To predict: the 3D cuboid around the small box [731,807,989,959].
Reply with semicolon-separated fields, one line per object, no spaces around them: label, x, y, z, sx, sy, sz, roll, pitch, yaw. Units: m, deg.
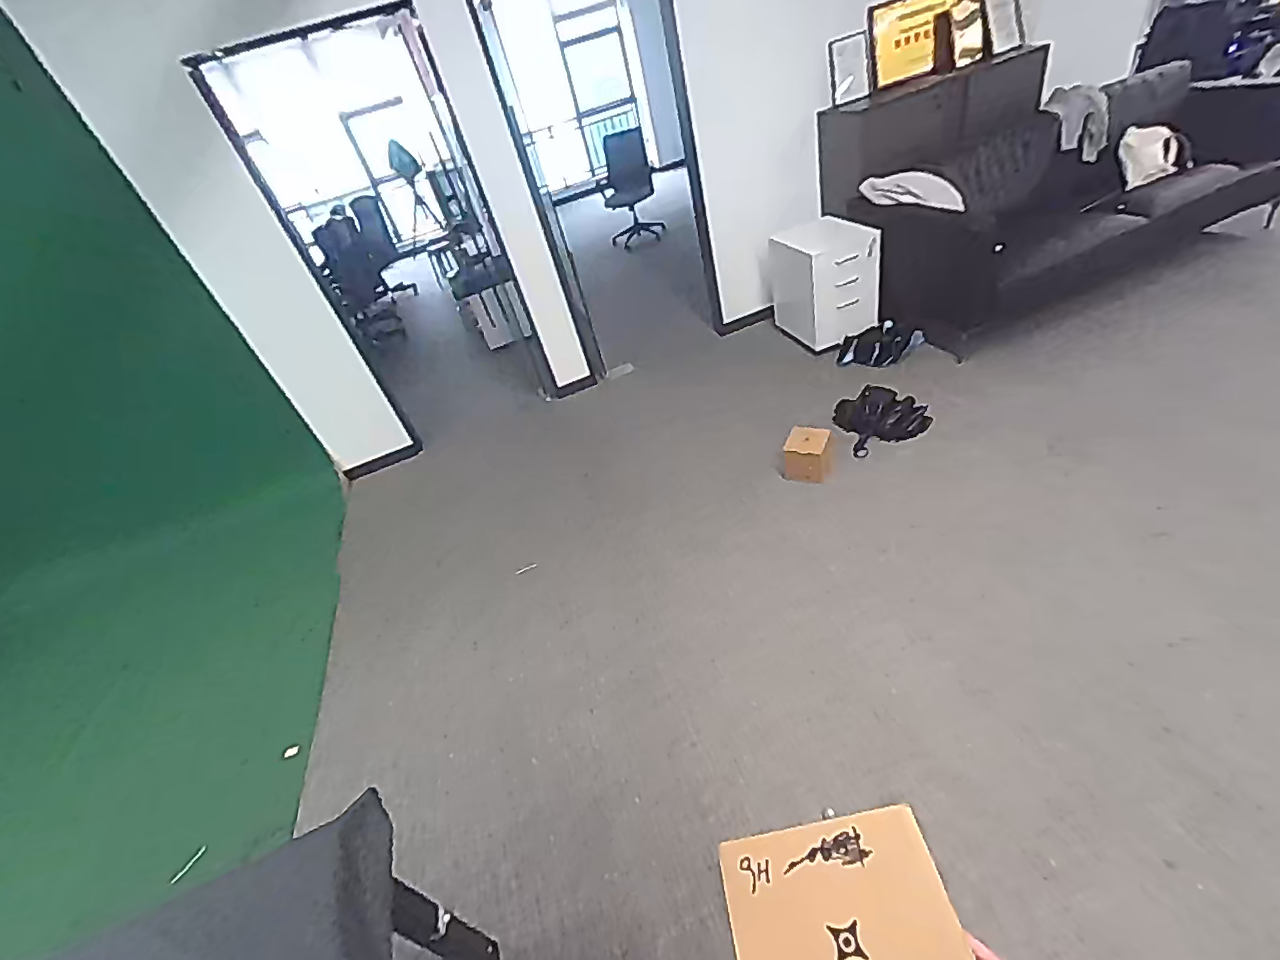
small box;0.185;0.399;0.439;0.168;0.176;0.179;-16;41;7
